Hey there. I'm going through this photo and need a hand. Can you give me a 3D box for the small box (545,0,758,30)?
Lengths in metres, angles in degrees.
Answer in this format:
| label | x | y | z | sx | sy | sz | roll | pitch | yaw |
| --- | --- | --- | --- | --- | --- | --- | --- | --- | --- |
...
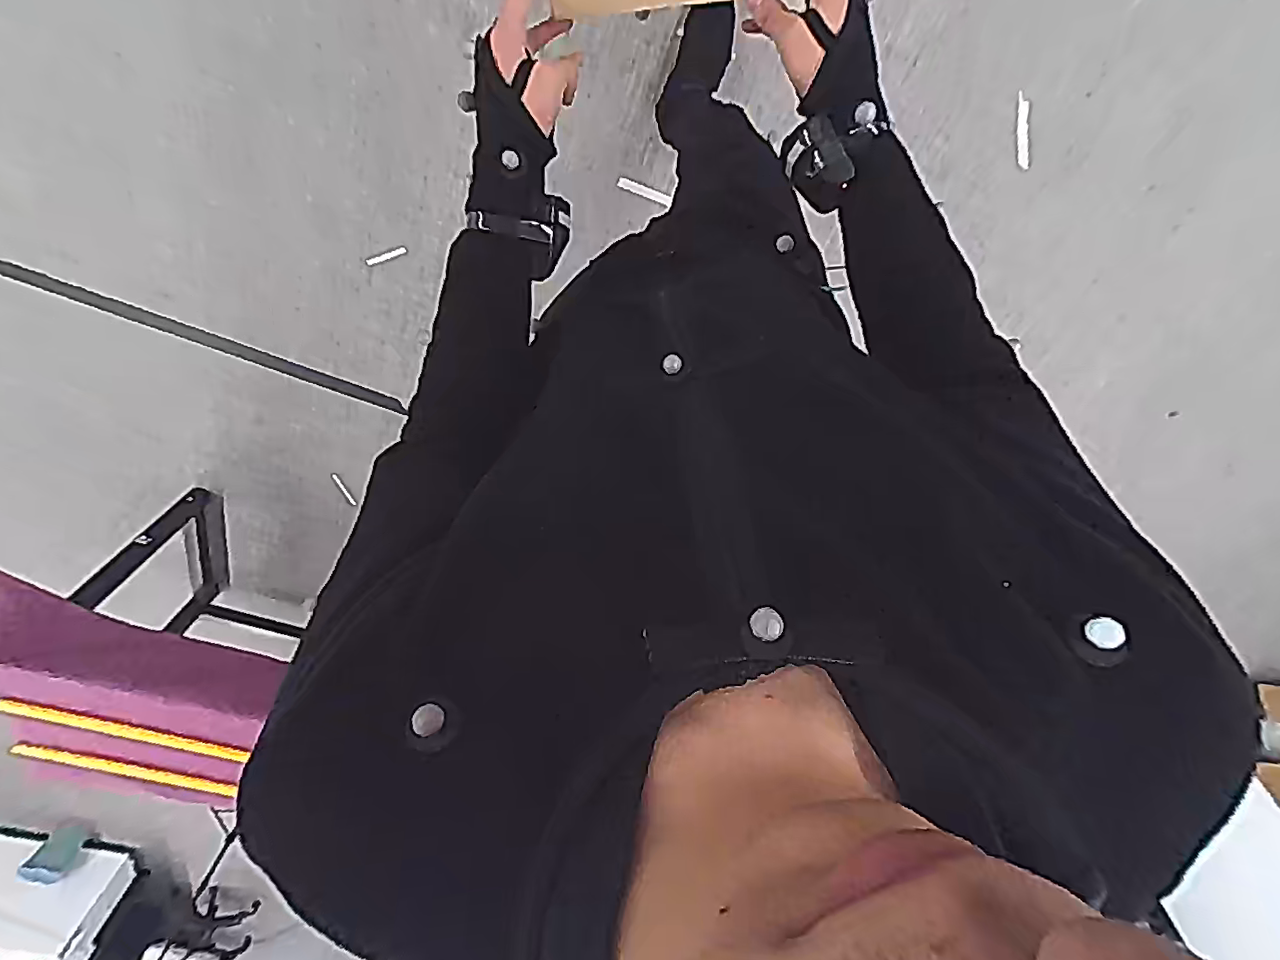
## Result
| label | x | y | z | sx | sy | sz | roll | pitch | yaw |
| --- | --- | --- | --- | --- | --- | --- | --- | --- | --- |
| small box | -0.003 | -0.491 | 0.440 | 0.179 | 0.176 | 0.168 | -8 | 136 | -2 |
